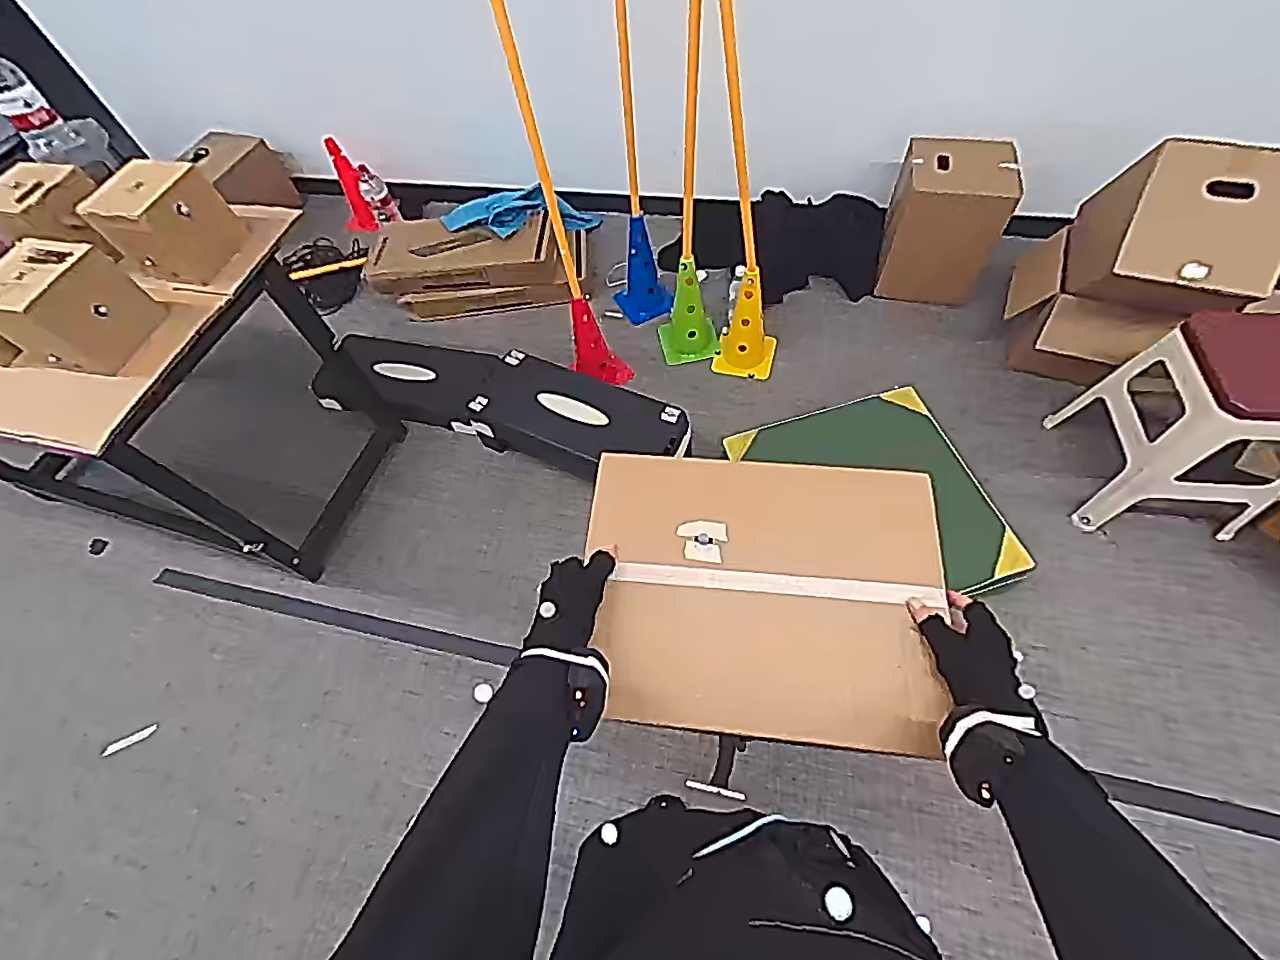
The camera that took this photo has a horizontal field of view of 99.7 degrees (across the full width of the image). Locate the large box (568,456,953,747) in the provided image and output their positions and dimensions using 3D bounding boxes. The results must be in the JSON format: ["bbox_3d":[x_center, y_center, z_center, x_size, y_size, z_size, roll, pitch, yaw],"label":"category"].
[{"bbox_3d":[0.148,0.178,0.758,0.408,0.320,0.320,4,65,8],"label":"large box"}]
